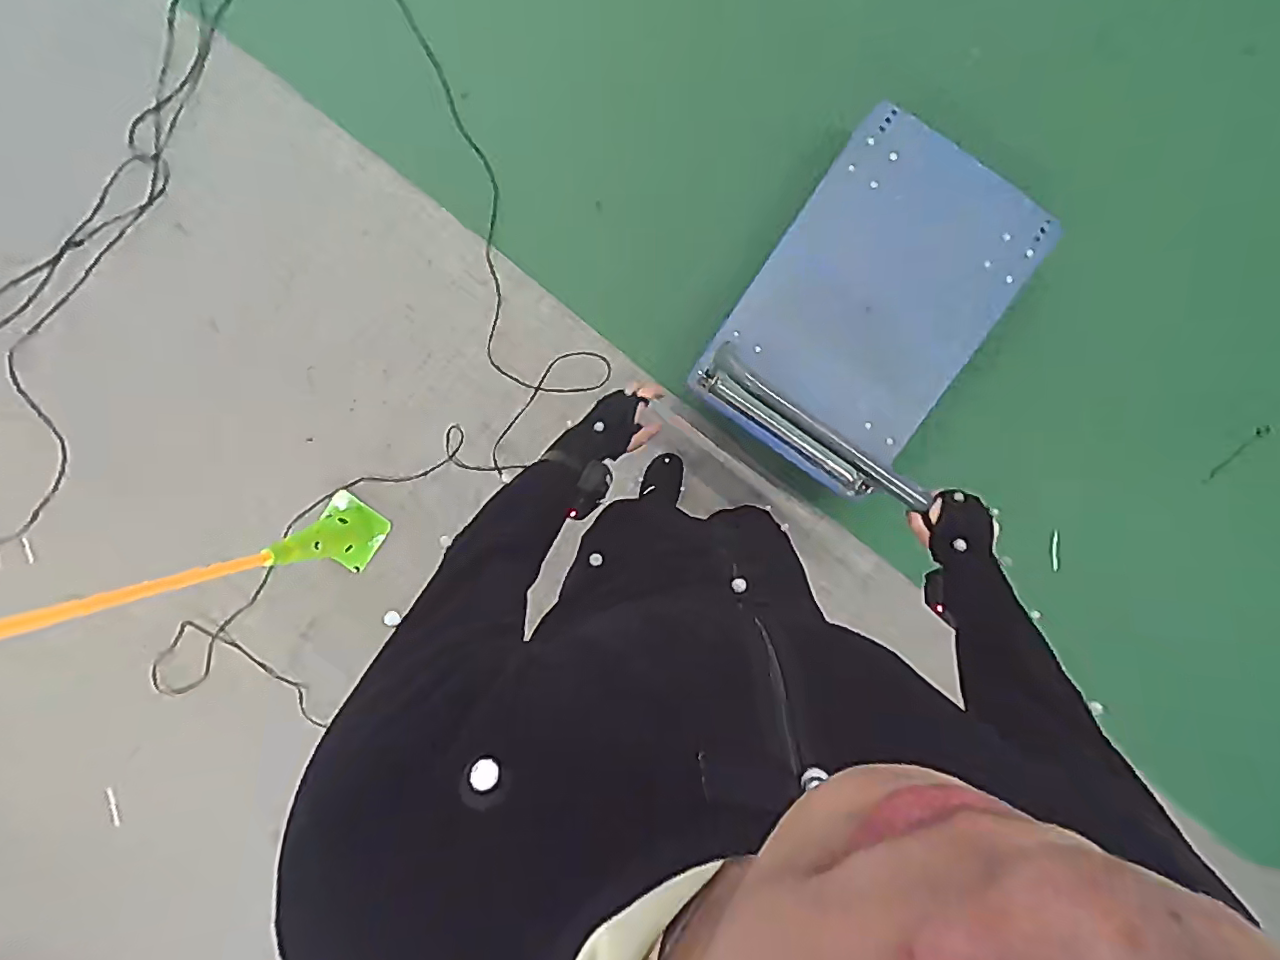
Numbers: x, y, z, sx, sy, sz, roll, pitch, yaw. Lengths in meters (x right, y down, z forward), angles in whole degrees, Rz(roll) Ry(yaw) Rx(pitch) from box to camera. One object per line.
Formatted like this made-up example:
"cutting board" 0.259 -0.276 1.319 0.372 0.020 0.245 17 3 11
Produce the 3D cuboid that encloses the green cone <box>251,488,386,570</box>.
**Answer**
"green cone" -0.912 0.162 1.491 0.202 0.368 0.200 36 95 1
